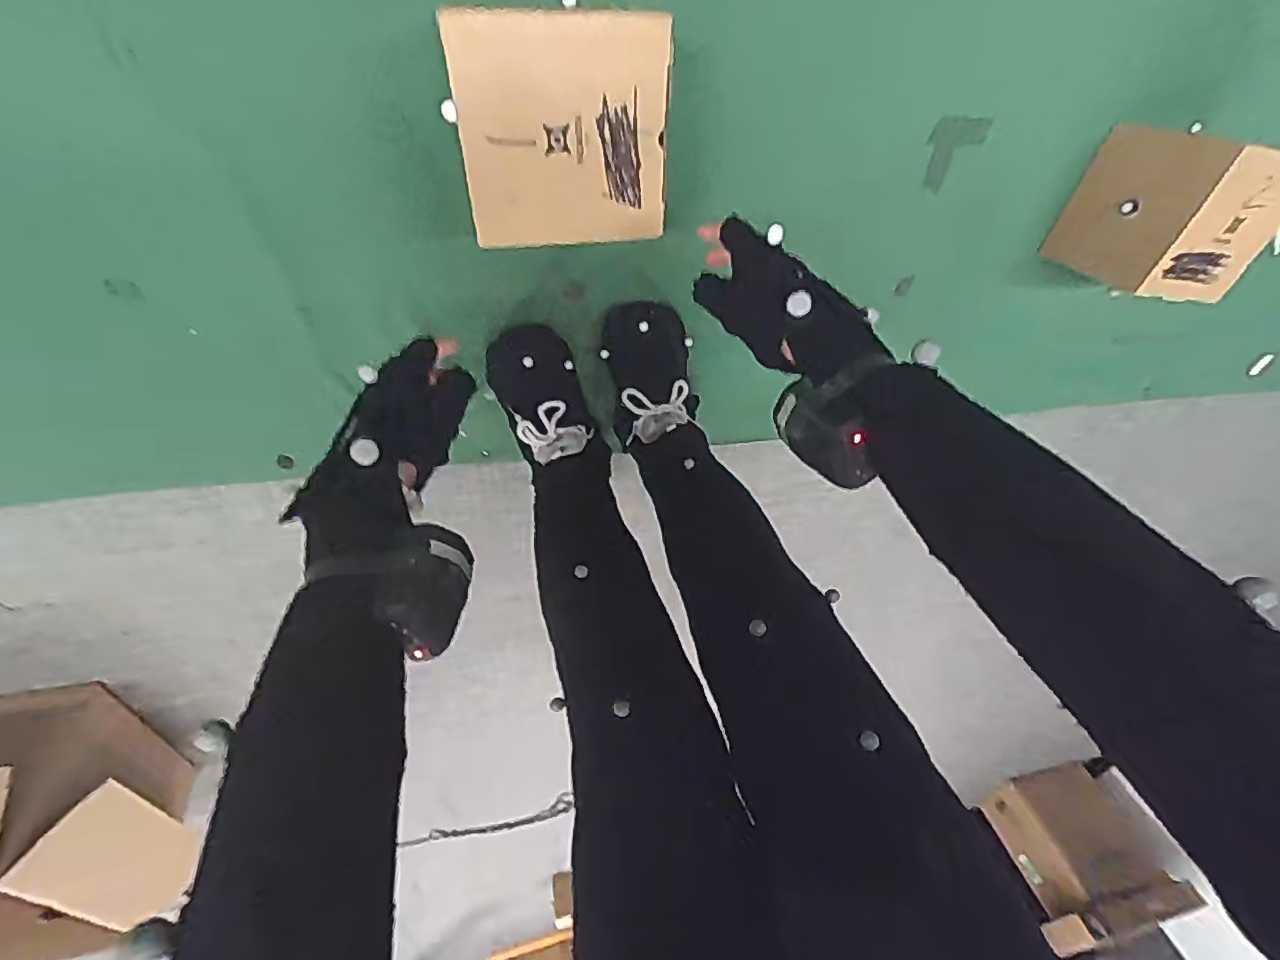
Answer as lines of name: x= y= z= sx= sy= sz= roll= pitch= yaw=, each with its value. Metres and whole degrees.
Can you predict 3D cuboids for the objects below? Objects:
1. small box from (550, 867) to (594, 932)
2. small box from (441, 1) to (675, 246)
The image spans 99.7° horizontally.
small box: x=-0.301 y=1.838 z=2.373 sx=0.179 sy=0.176 sz=0.168 roll=-7 pitch=132 yaw=-12
small box: x=-0.077 y=-0.333 z=0.504 sx=0.179 sy=0.176 sz=0.168 roll=-7 pitch=132 yaw=-10
